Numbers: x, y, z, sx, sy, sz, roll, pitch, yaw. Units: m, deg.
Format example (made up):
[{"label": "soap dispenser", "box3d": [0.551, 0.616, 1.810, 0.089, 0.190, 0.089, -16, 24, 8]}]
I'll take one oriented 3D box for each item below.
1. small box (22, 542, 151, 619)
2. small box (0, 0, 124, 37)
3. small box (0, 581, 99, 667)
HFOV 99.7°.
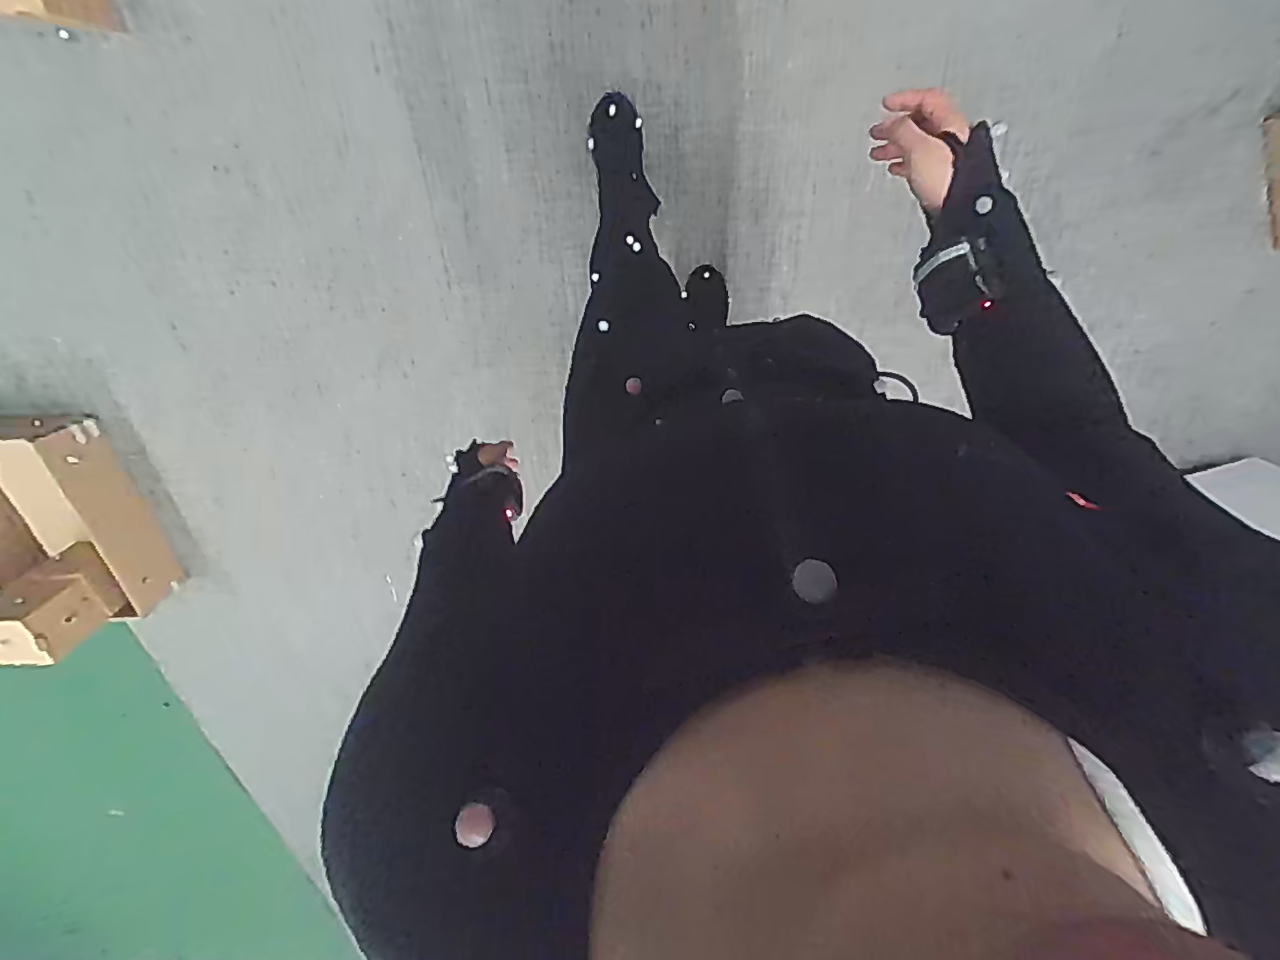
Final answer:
[{"label": "small box", "box3d": [-1.656, 0.303, 1.630, 0.179, 0.176, 0.168, -5, 120, 2]}, {"label": "small box", "box3d": [-1.112, -0.935, 0.979, 0.168, 0.176, 0.179, 2, 120, 0]}, {"label": "small box", "box3d": [-1.668, 0.393, 1.493, 0.179, 0.176, 0.168, 0, 120, -1]}]
